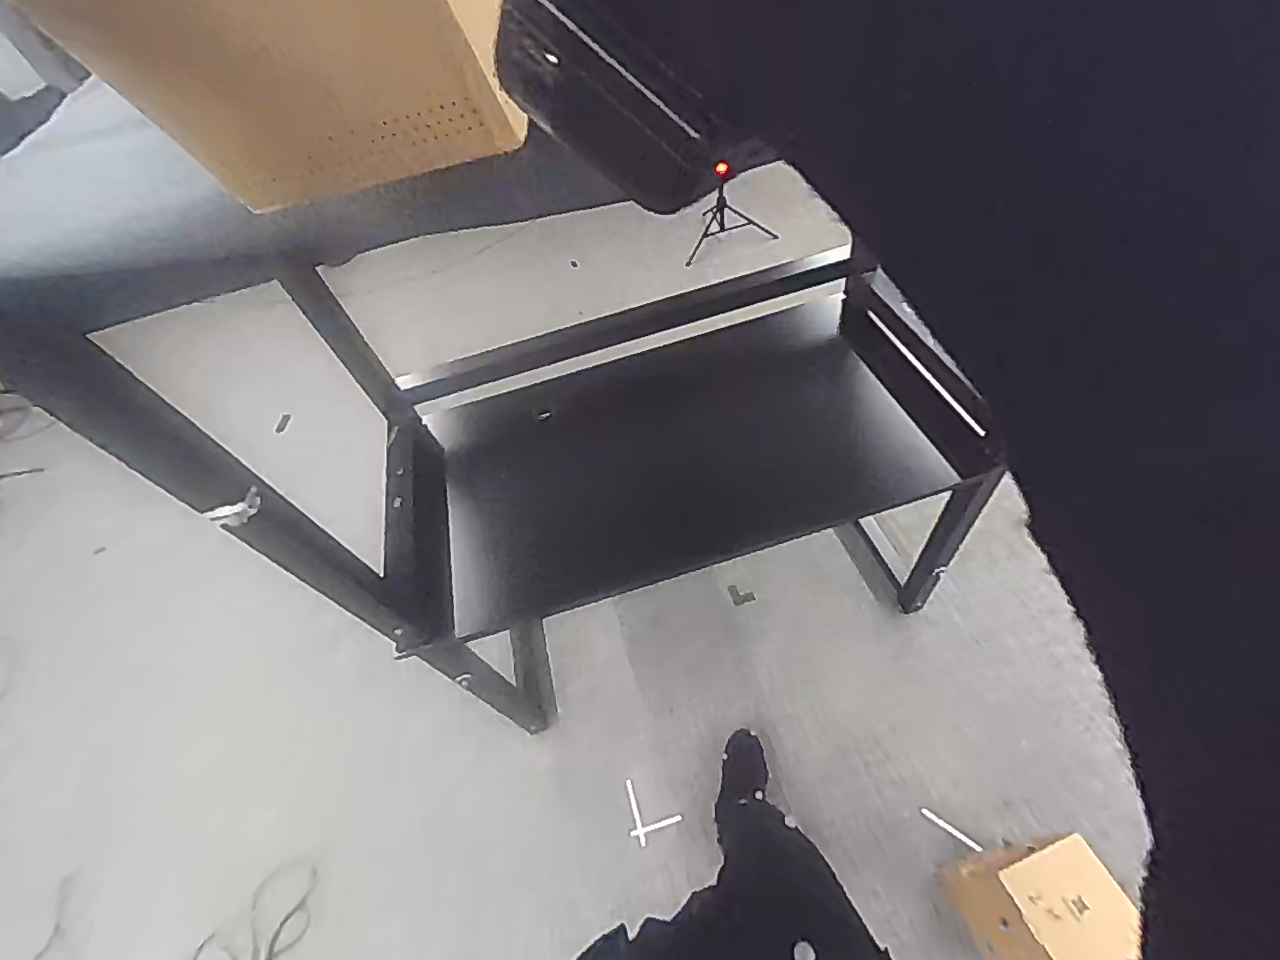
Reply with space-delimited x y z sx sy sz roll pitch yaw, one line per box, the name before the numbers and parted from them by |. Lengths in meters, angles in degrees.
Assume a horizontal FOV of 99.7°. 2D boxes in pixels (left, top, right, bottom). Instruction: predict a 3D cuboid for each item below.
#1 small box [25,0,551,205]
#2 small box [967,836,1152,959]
small box | -0.149 -0.260 0.242 0.179 0.176 0.168 -3 70 16
small box | 0.746 0.777 0.988 0.179 0.176 0.168 -22 54 -5
